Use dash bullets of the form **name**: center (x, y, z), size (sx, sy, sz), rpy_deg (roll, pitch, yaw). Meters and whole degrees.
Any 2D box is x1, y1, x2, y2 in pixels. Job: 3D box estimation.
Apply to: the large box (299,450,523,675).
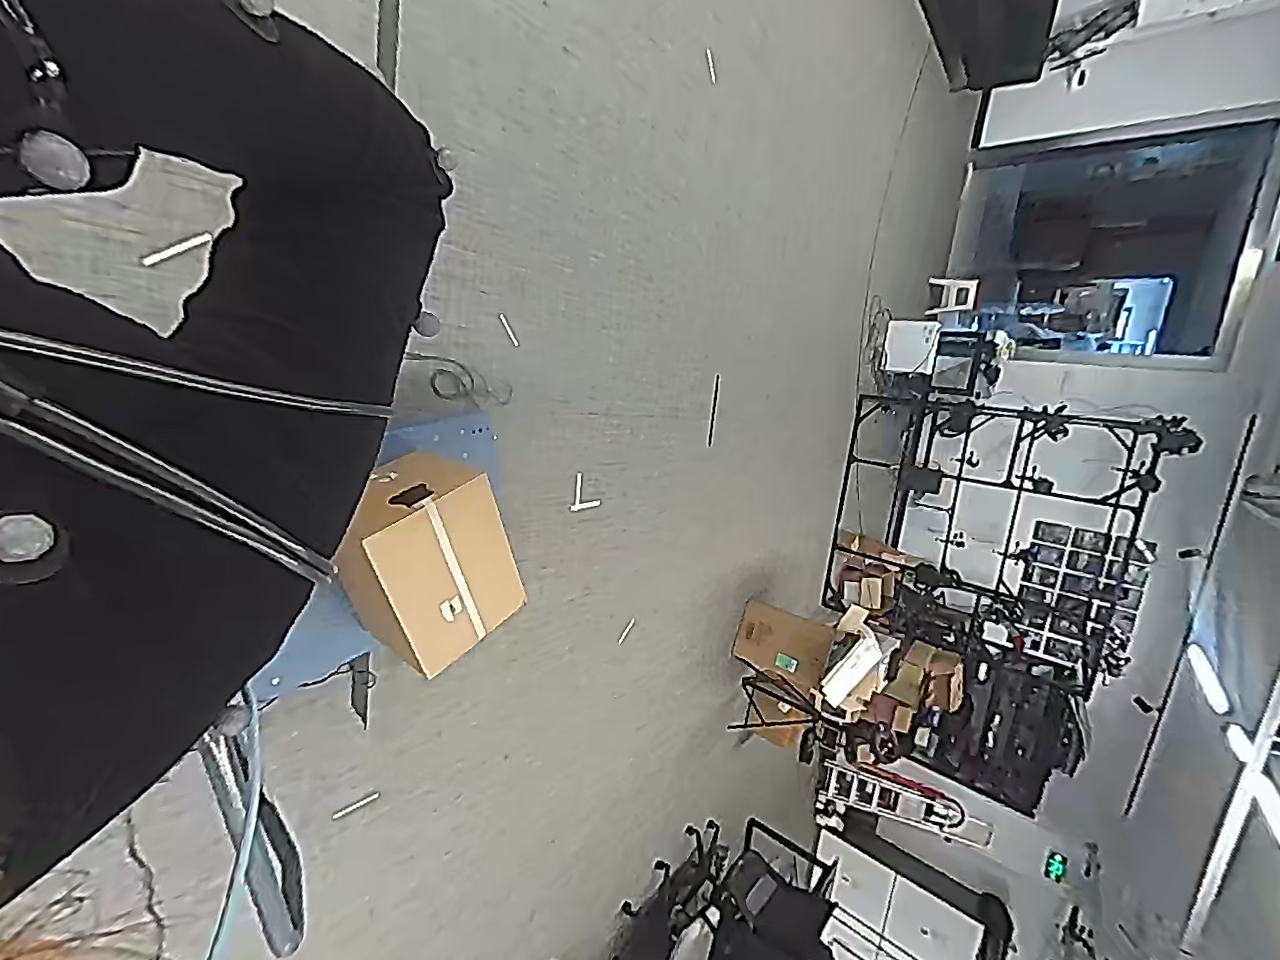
- **large box**: center (-0.551, 0.185, 1.341), size (0.320, 0.320, 0.408), rpy_deg (-36, 129, -40)
